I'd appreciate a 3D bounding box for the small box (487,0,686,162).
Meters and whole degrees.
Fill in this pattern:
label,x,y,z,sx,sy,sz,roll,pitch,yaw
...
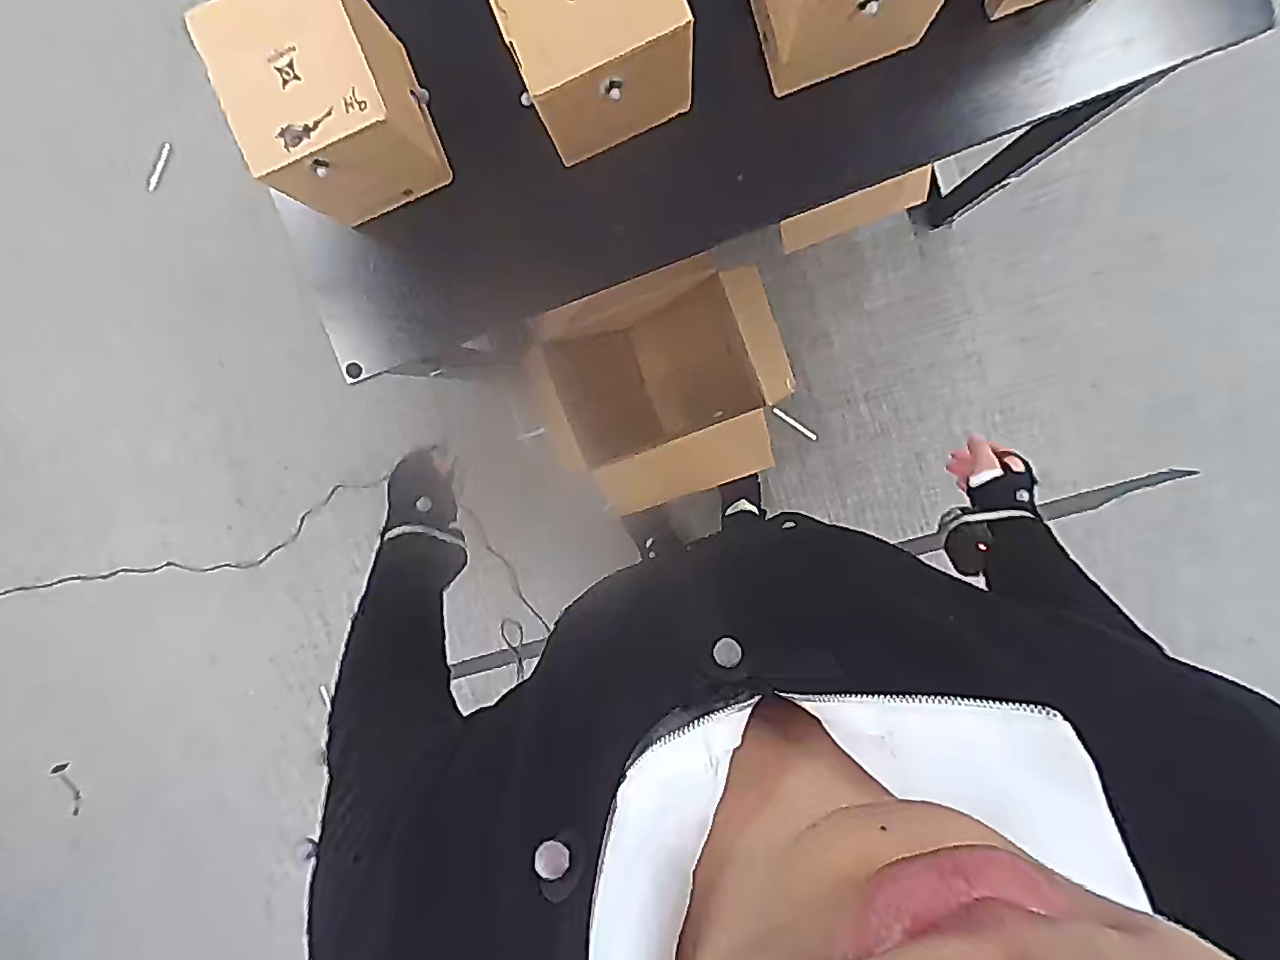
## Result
label,x,y,z,sx,sy,sz,roll,pitch,yaw
small box,-0.055,-0.496,0.603,0.179,0.176,0.168,-21,97,7

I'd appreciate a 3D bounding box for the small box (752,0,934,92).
label,x,y,z,sx,sy,sz,roll,pitch,yaw
small box,0.215,-0.559,0.570,0.179,0.176,0.168,-17,96,6

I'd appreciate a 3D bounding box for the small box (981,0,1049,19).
label,x,y,z,sx,sy,sz,roll,pitch,yaw
small box,0.448,-0.631,0.539,0.168,0.176,0.179,-17,96,8

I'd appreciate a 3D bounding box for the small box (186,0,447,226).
label,x,y,z,sx,sy,sz,roll,pitch,yaw
small box,-0.359,-0.435,0.635,0.168,0.176,0.179,-20,96,7
